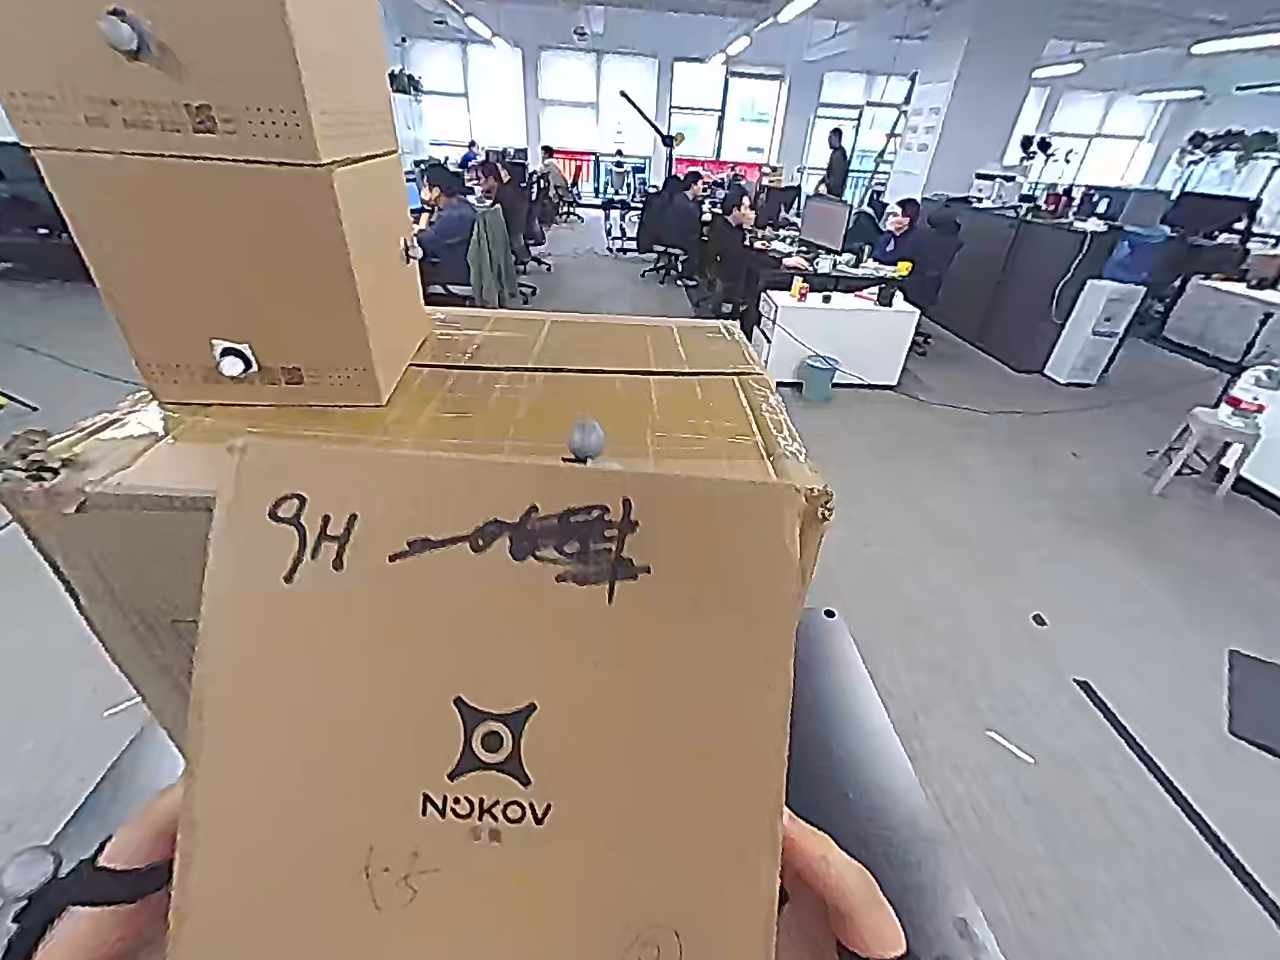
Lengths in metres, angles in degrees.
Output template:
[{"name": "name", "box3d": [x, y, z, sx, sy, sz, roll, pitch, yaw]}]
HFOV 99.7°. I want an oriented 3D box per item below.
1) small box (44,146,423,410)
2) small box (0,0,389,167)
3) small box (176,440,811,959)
[{"name": "small box", "box3d": [-0.284, -0.169, 0.437, 0.168, 0.176, 0.179, -2, 35, -8]}, {"name": "small box", "box3d": [-0.277, -0.306, 0.345, 0.168, 0.176, 0.179, -1, 34, -6]}, {"name": "small box", "box3d": [-0.039, 0.083, 0.229, 0.168, 0.179, 0.176, 5, -1, 1]}]
